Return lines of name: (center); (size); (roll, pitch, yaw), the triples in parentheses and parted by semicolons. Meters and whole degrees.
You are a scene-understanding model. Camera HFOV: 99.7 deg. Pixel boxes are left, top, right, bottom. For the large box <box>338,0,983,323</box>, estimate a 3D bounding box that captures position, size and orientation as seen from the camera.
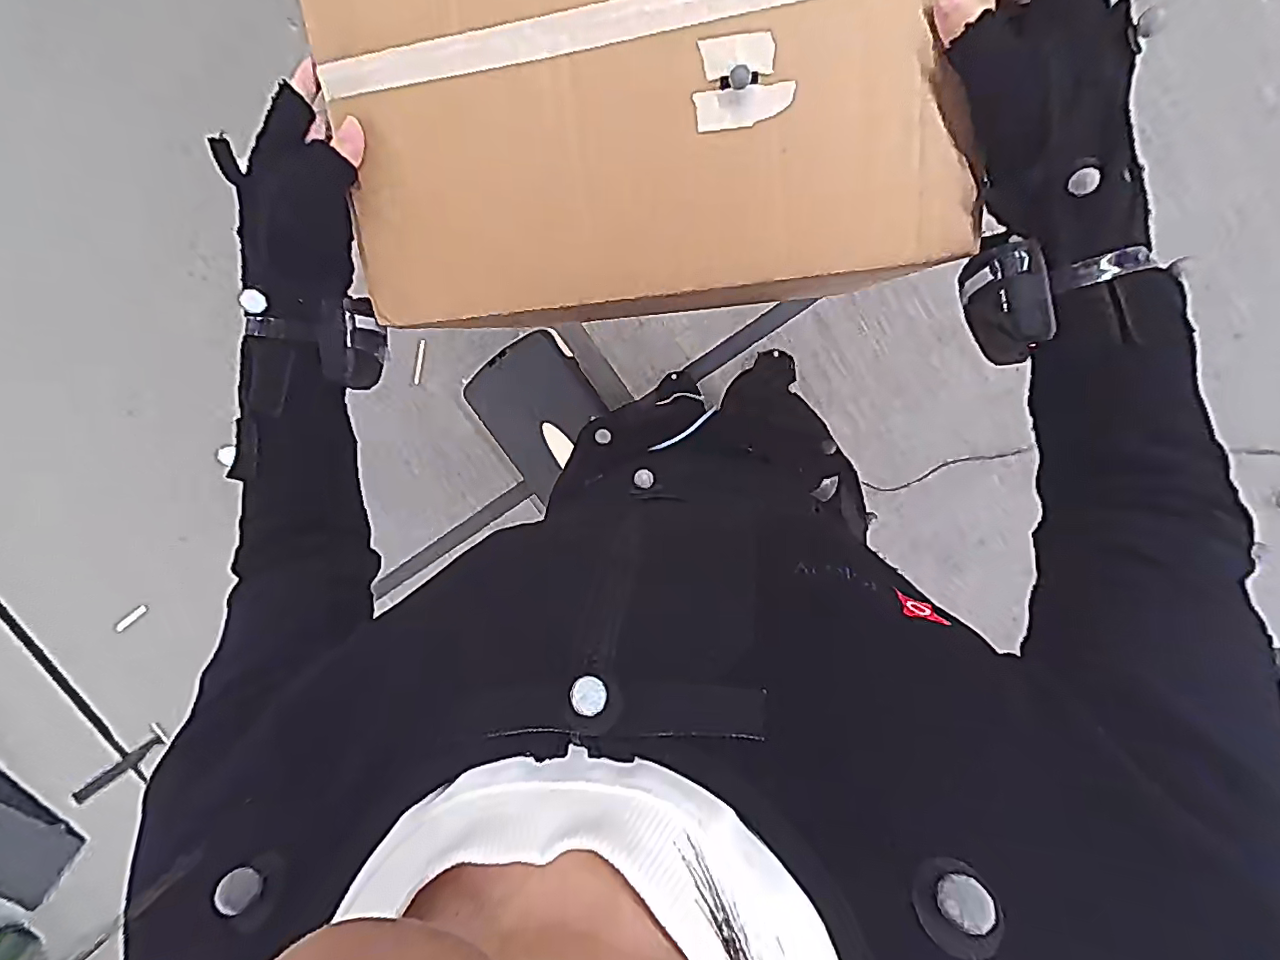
large box: (0.019, -0.323, 0.478); (0.408, 0.320, 0.320); (-4, 105, 9)
